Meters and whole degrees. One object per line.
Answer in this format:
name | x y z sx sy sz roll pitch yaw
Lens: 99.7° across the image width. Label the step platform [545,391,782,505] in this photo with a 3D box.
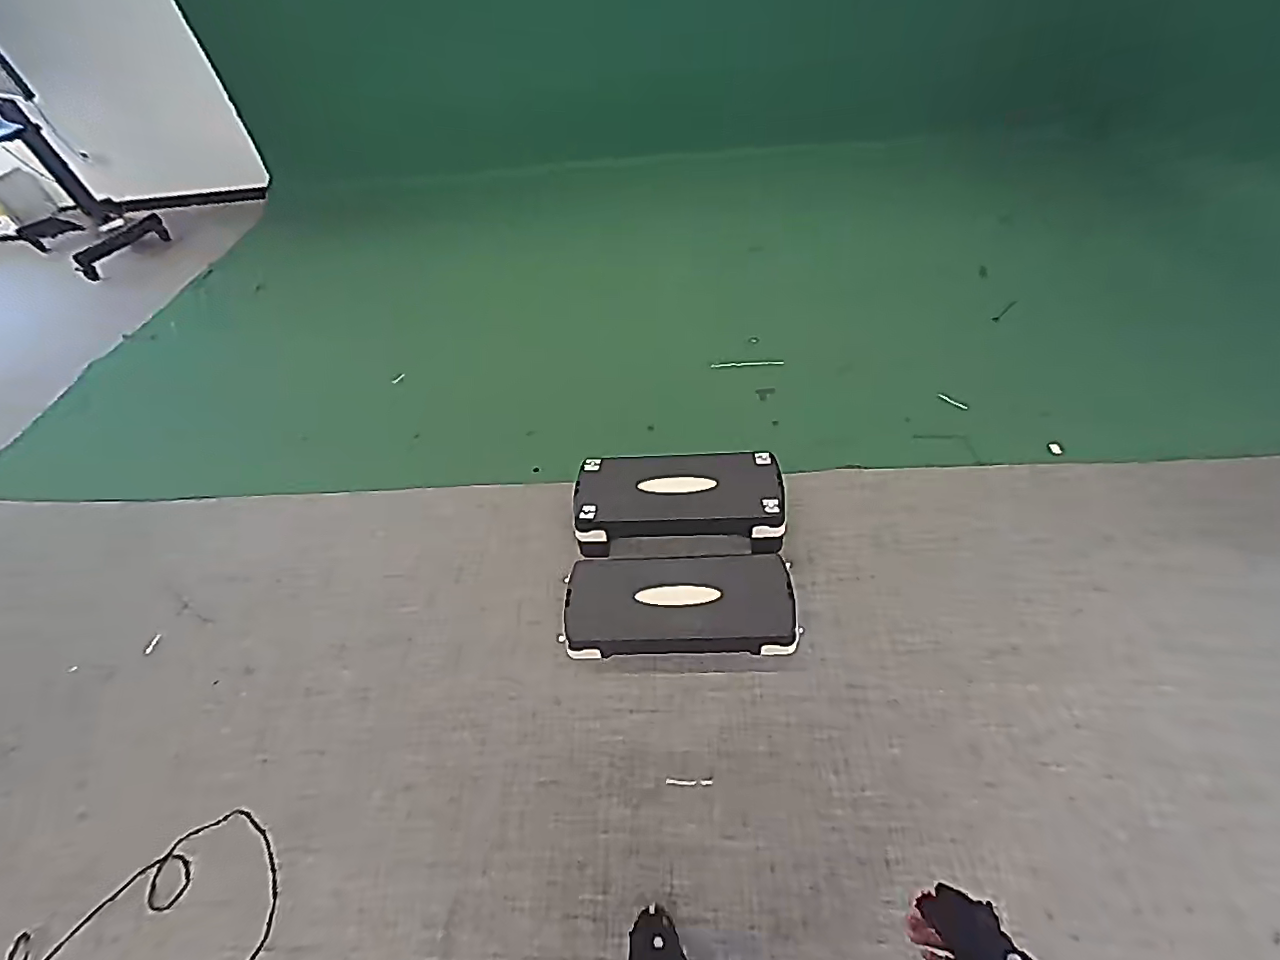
step platform | 0.072 -0.094 1.643 0.684 0.204 0.286 -3 50 5
